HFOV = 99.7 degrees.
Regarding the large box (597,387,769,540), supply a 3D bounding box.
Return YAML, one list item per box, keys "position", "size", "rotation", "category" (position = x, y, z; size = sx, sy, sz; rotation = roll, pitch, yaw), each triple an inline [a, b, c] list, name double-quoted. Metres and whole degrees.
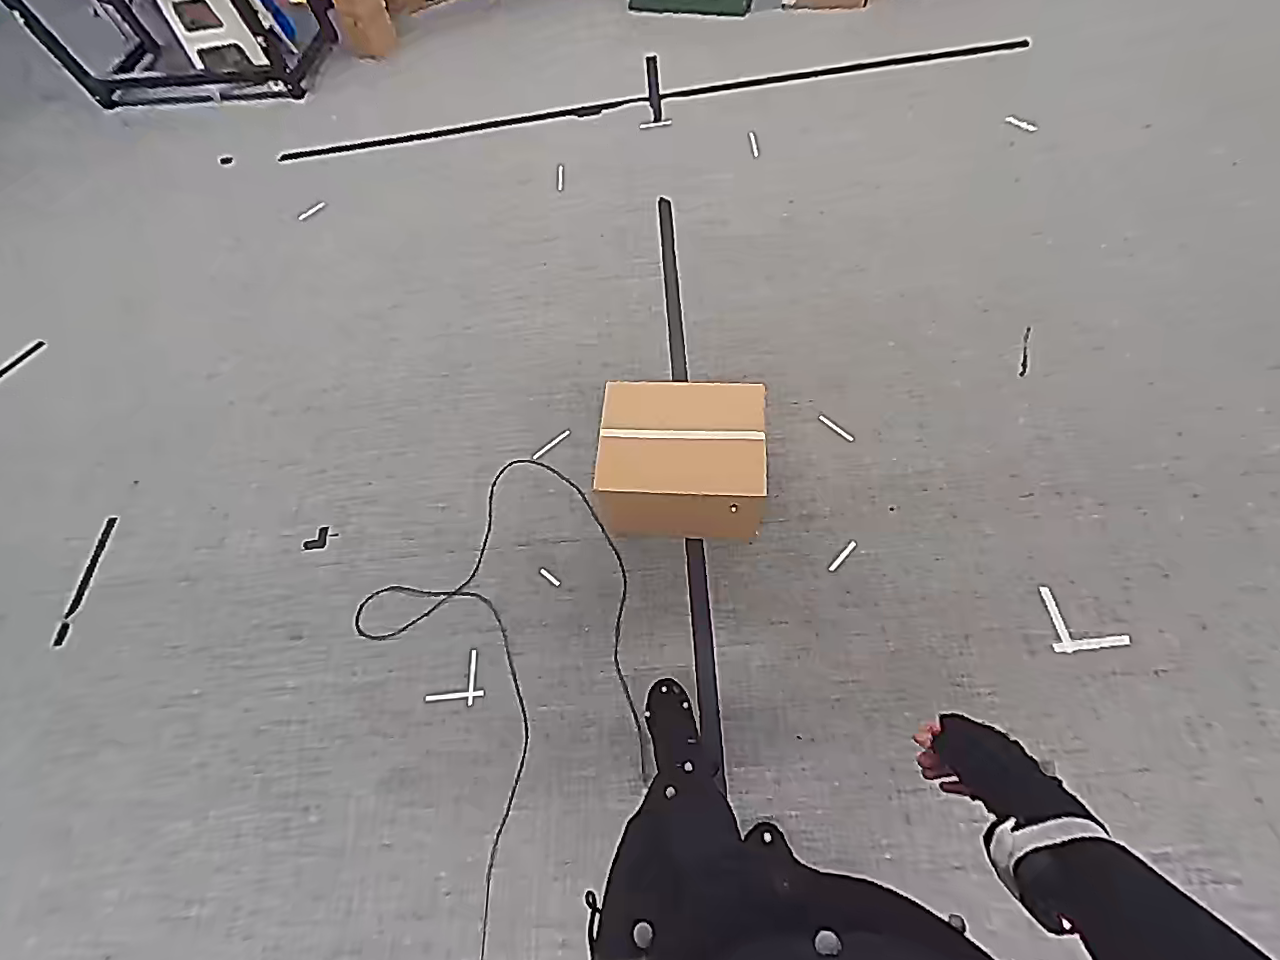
- position: [0.120, -0.036, 1.442]
  size: [0.408, 0.320, 0.320]
  rotation: [2, 64, 7]
  category: "large box"
